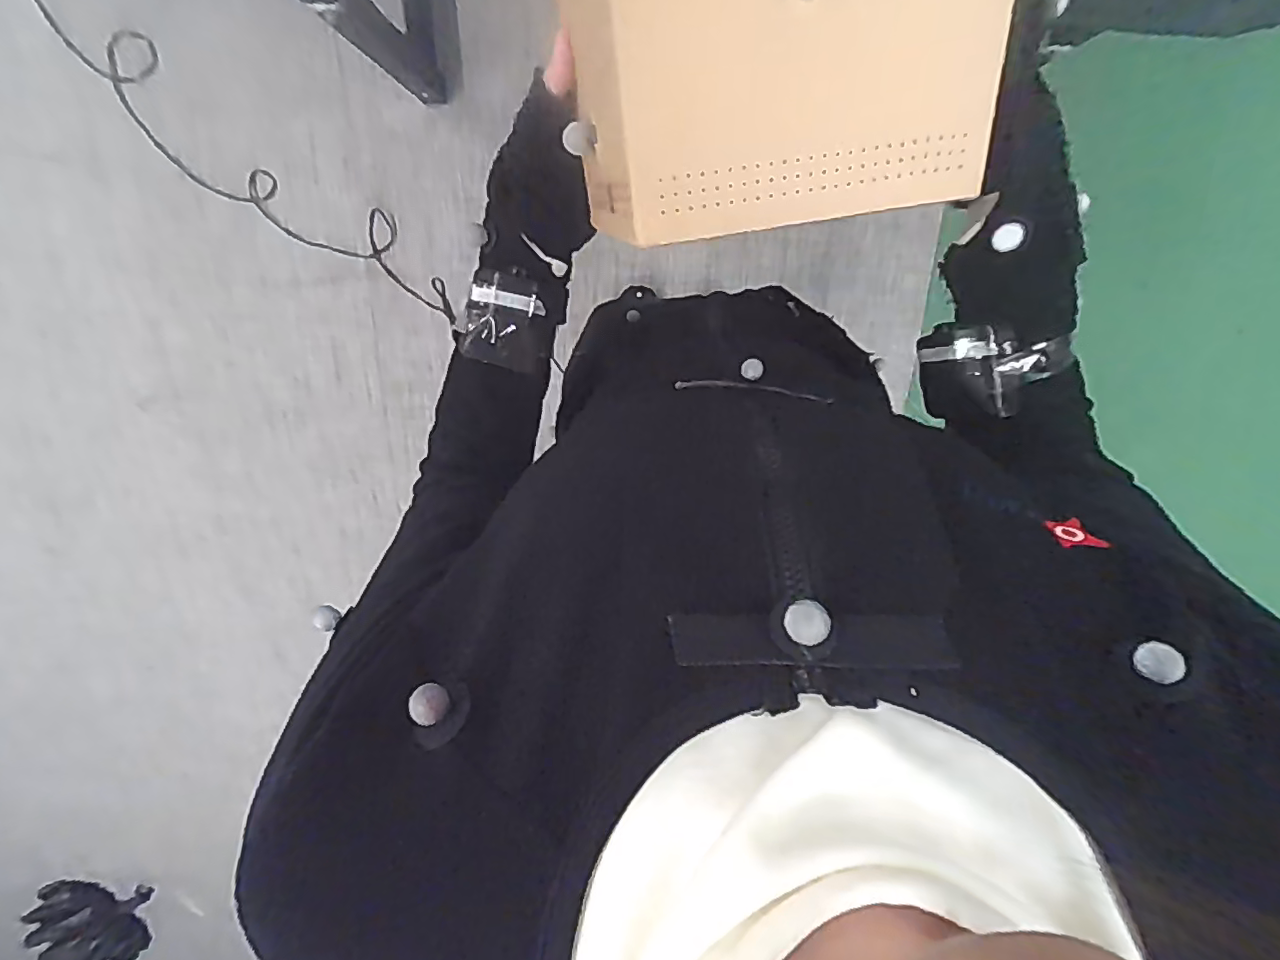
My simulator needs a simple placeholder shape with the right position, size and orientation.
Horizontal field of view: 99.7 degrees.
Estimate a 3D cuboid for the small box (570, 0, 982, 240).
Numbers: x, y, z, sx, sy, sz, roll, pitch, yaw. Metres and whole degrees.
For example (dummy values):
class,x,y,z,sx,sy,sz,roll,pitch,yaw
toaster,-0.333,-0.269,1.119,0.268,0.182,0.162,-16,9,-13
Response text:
class,x,y,z,sx,sy,sz,roll,pitch,yaw
small box,0.059,-0.241,0.297,0.179,0.168,0.176,-12,120,-6
